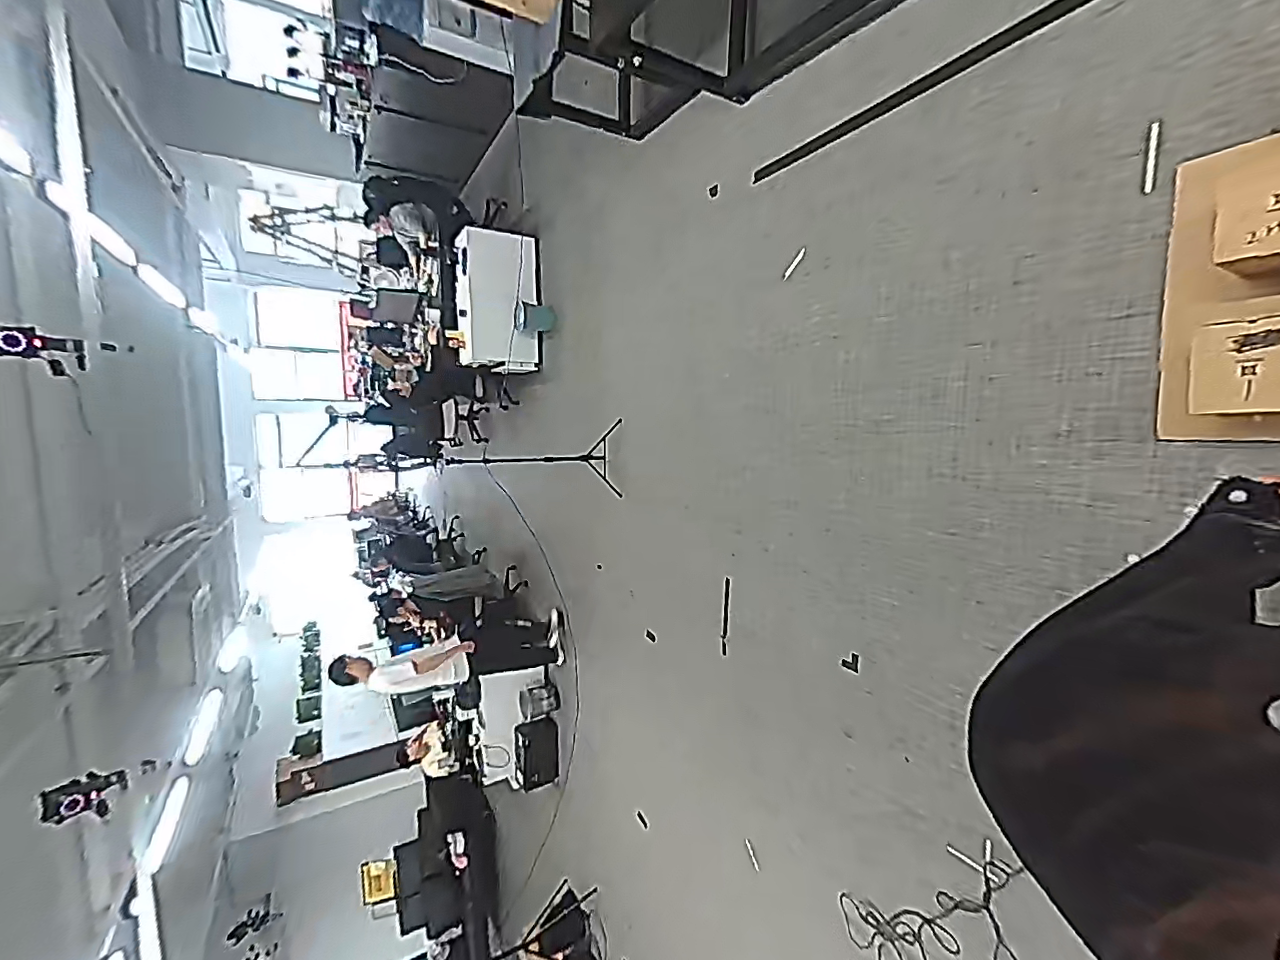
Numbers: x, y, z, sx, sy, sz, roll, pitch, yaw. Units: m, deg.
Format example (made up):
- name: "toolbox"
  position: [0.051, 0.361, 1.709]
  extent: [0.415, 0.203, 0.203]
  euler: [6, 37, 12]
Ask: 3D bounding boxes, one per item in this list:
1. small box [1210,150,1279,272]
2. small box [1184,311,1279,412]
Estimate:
- name: "small box"
  position: [1.208, -0.505, 1.003]
  extent: [0.168, 0.176, 0.179]
  euler: [9, 101, 59]
- name: "small box"
  position: [1.201, -0.223, 1.048]
  extent: [0.168, 0.176, 0.179]
  euler: [7, 100, 59]
